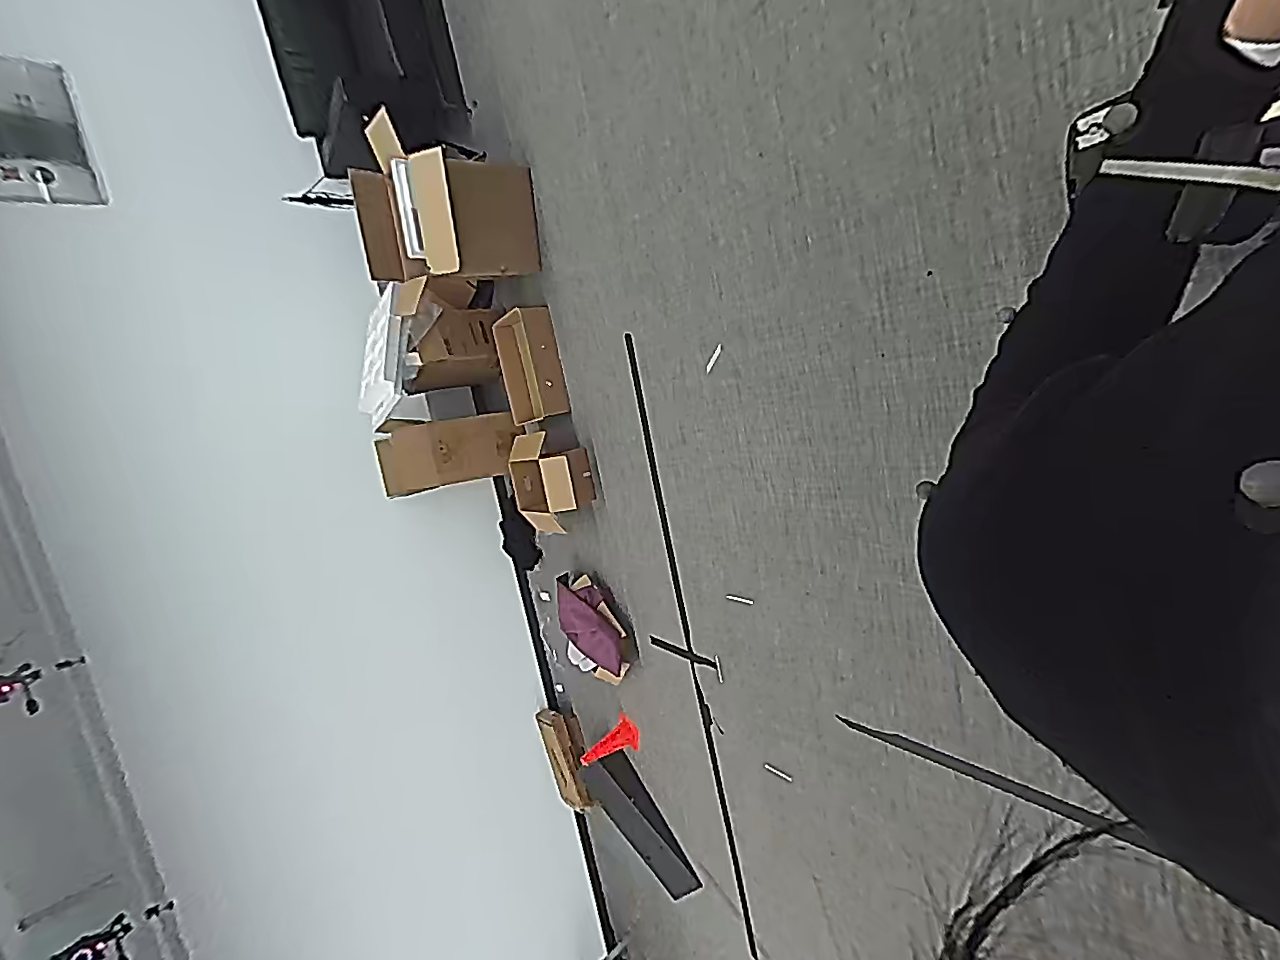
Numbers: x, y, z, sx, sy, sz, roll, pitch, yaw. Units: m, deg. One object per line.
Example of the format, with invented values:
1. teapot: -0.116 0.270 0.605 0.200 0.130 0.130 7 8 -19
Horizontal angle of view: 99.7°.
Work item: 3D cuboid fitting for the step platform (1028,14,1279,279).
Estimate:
1. step platform: 0.917 -0.497 0.672 0.684 0.204 0.286 -3 101 54
